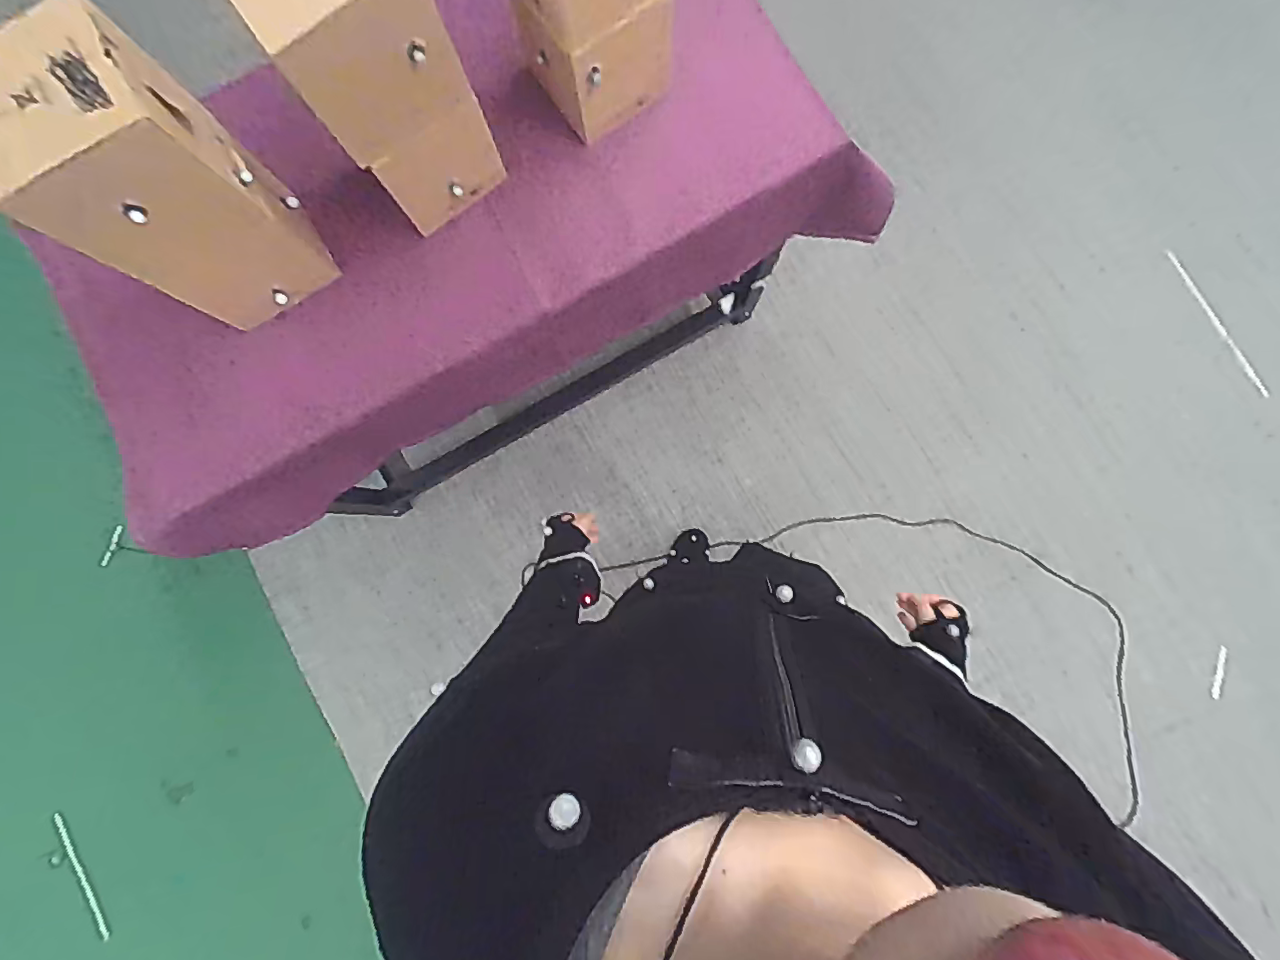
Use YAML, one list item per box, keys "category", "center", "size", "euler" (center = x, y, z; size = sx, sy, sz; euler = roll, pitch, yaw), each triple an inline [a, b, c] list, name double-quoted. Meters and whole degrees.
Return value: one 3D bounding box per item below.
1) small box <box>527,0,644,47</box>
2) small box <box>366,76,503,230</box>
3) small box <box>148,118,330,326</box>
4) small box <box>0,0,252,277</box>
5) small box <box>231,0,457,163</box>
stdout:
- category: "small box"
  center: [-0.079, -0.668, 0.627]
  size: [0.179, 0.176, 0.168]
  euler: [-36, 85, -2]
- category: "small box"
  center: [-0.330, -0.510, 0.784]
  size: [0.168, 0.176, 0.179]
  euler: [-37, 86, -1]
- category: "small box"
  center: [-0.586, -0.355, 0.776]
  size: [0.179, 0.176, 0.168]
  euler: [-31, 85, -1]
- category: "small box"
  center: [-0.589, -0.370, 0.612]
  size: [0.179, 0.176, 0.168]
  euler: [-31, 85, 0]
- category: "small box"
  center: [-0.335, -0.520, 0.621]
  size: [0.179, 0.176, 0.168]
  euler: [-35, 84, -1]
